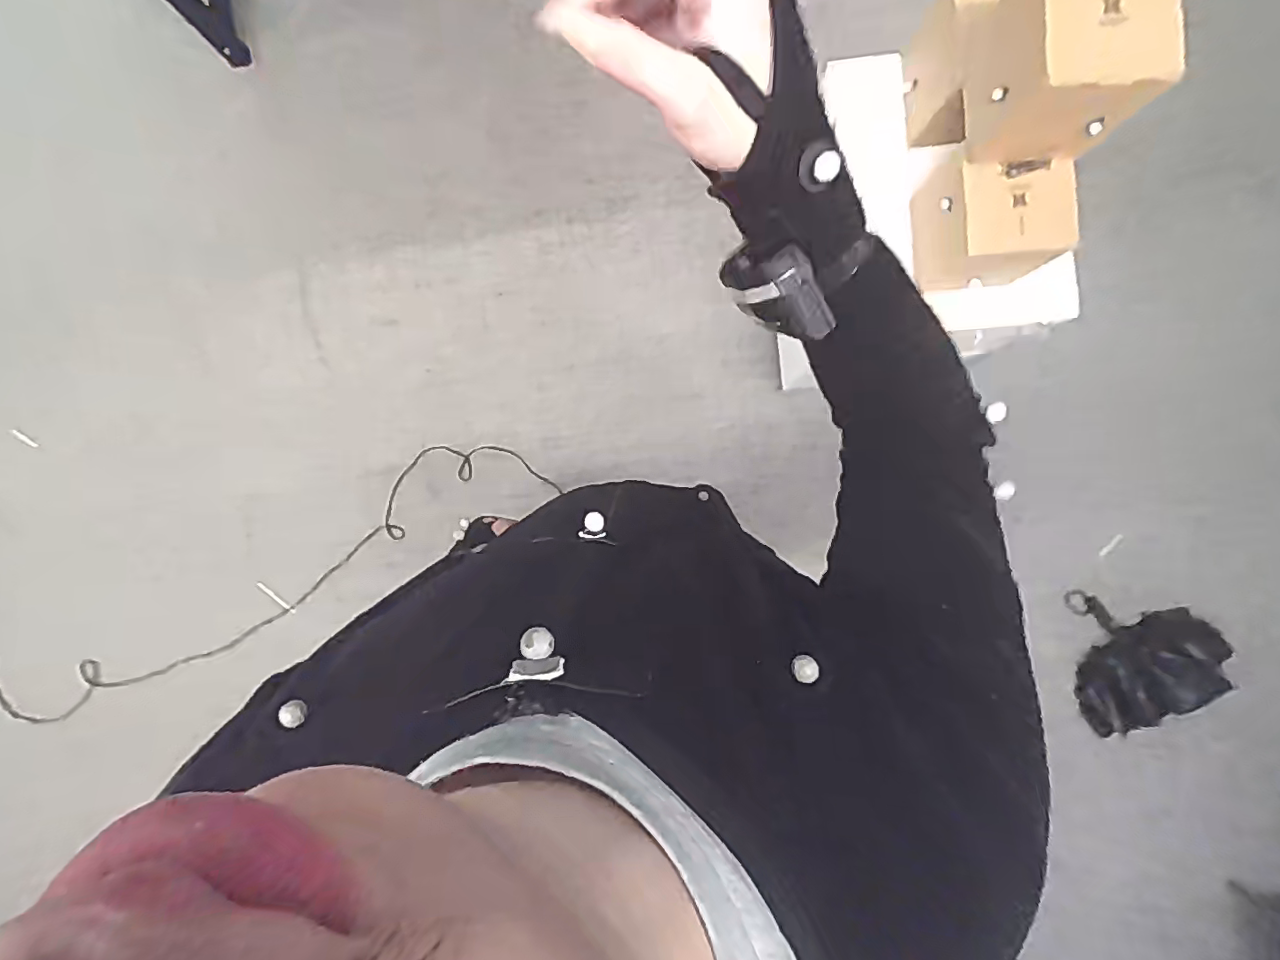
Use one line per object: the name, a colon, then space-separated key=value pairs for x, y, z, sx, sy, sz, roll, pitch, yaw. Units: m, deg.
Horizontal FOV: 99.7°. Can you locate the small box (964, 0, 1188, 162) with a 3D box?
small box: x=0.563 y=-0.553 z=0.721 sx=0.168 sy=0.176 sz=0.179 roll=-4 pitch=89 yaw=0

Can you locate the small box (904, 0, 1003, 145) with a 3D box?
small box: x=0.555 y=-0.678 z=0.884 sx=0.168 sy=0.176 sz=0.179 roll=-5 pitch=92 yaw=1

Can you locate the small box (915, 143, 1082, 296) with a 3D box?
small box: x=0.570 y=-0.418 z=0.882 sx=0.168 sy=0.176 sz=0.179 roll=-3 pitch=90 yaw=2
